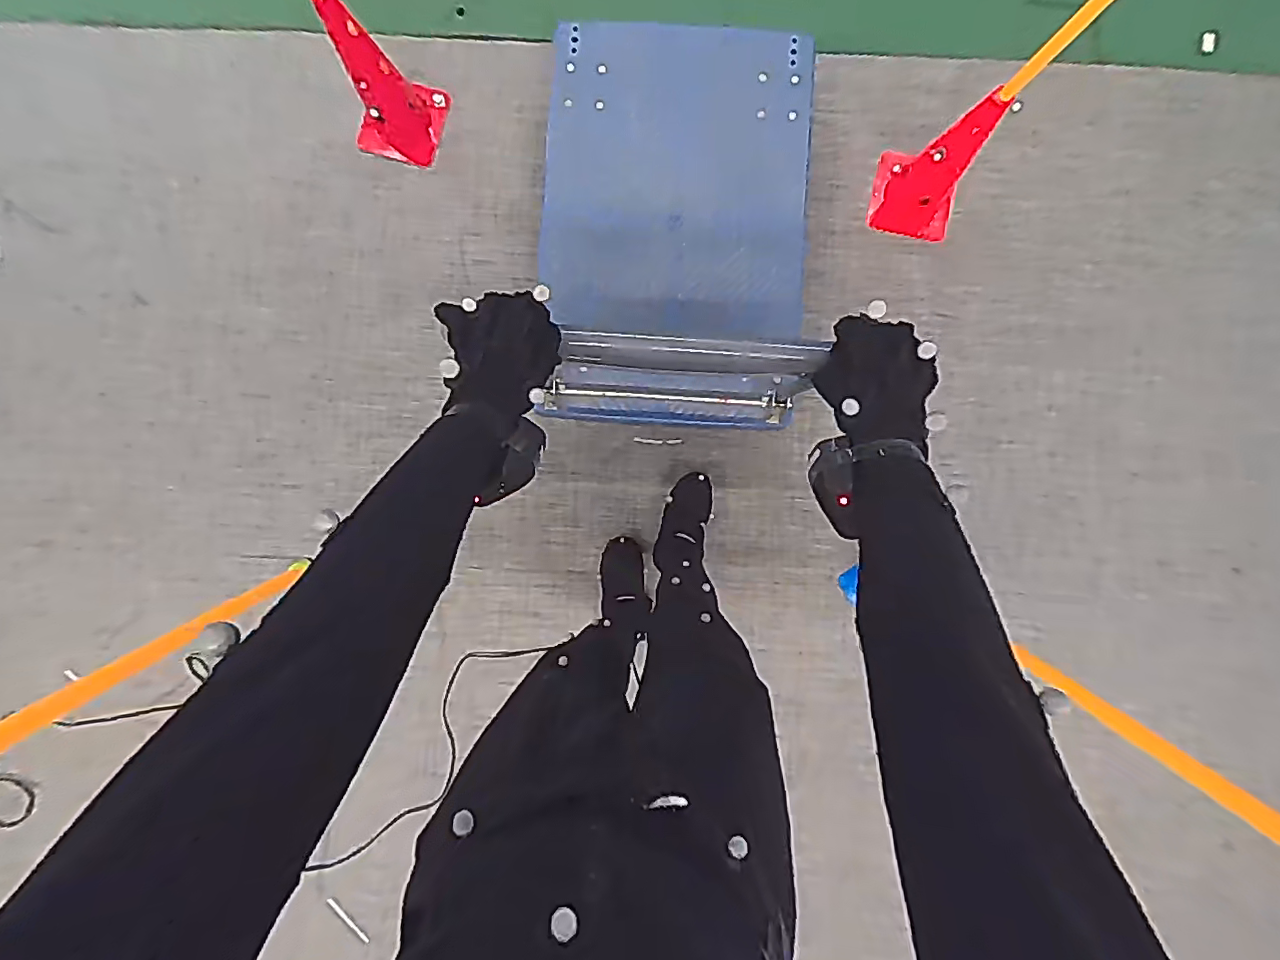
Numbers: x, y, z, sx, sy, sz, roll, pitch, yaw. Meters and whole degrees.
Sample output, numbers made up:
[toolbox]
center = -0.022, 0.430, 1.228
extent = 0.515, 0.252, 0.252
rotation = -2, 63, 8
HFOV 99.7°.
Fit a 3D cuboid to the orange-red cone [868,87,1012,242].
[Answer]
[orange-red cone]
center = 0.680, -0.709, 1.181
extent = 0.198, 0.360, 0.199
rotation = 14, 90, 1
